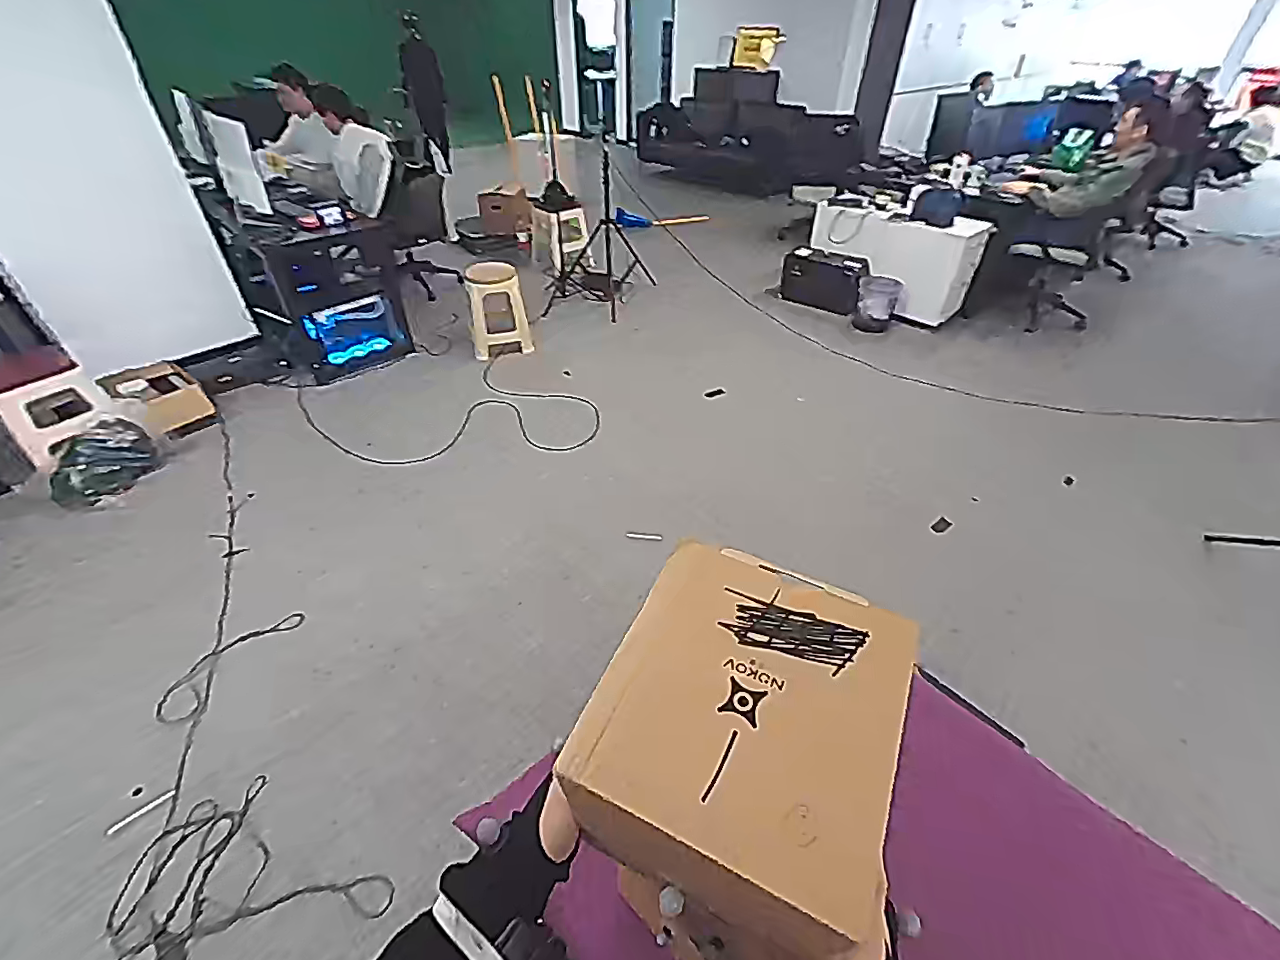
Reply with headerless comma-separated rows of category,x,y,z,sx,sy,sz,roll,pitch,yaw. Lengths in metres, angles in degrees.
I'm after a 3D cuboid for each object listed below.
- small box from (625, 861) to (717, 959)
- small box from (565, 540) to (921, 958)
small box,0.096,0.434,0.616,0.168,0.176,0.179,32,48,31
small box,0.070,0.178,0.371,0.168,0.176,0.179,18,49,20
